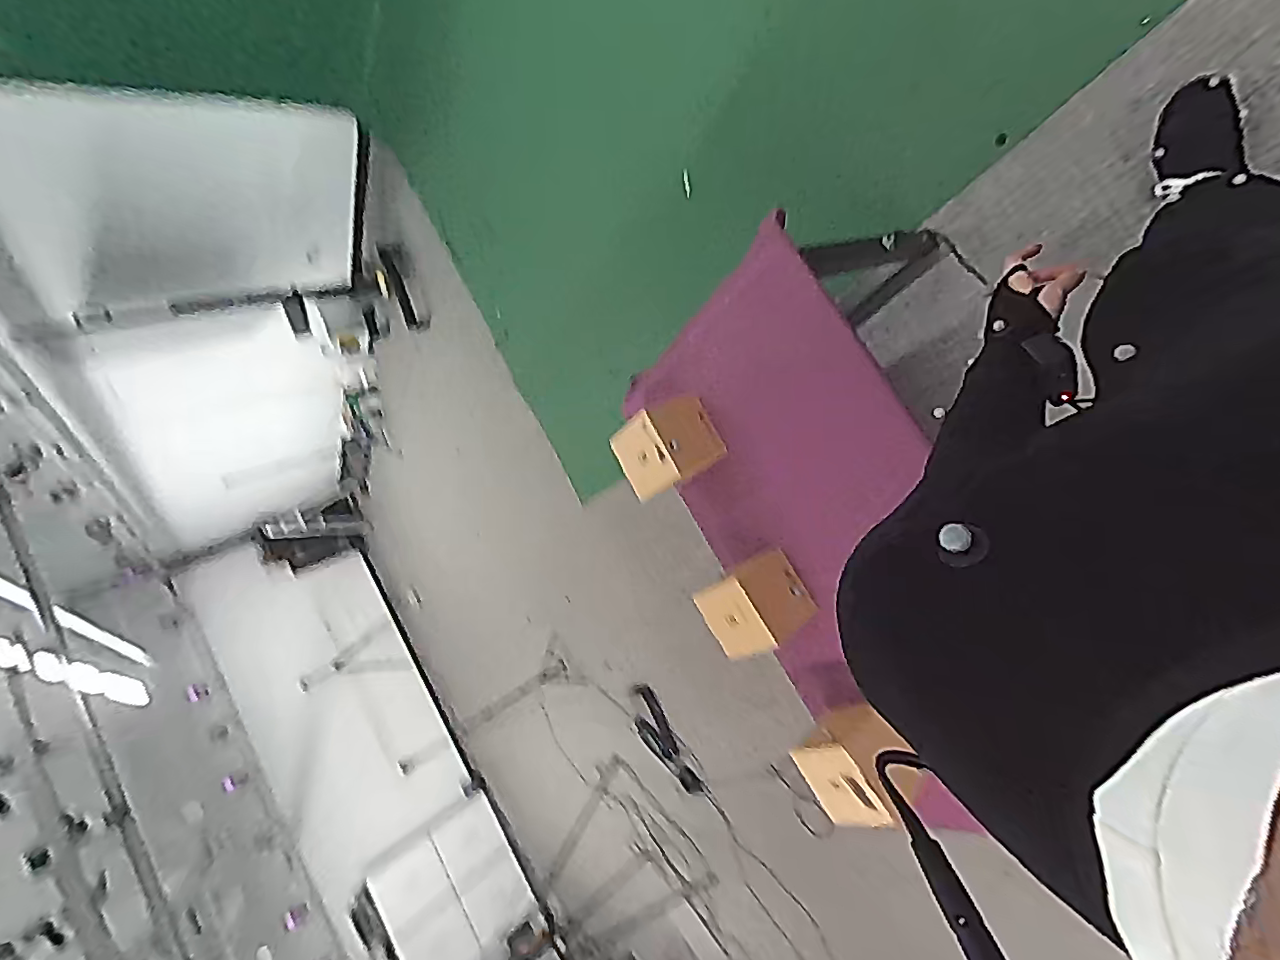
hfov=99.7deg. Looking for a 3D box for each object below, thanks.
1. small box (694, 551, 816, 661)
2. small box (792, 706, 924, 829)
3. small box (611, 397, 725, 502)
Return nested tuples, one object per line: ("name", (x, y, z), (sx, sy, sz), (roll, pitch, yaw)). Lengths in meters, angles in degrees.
("small box", (0.263, 0.286, 1.233), (0.168, 0.176, 0.179), (58, 142, 9))
("small box", (0.470, 0.605, 1.150), (0.168, 0.176, 0.179), (58, 143, 12))
("small box", (0.066, -0.072, 1.276), (0.168, 0.176, 0.179), (60, 143, 6))
